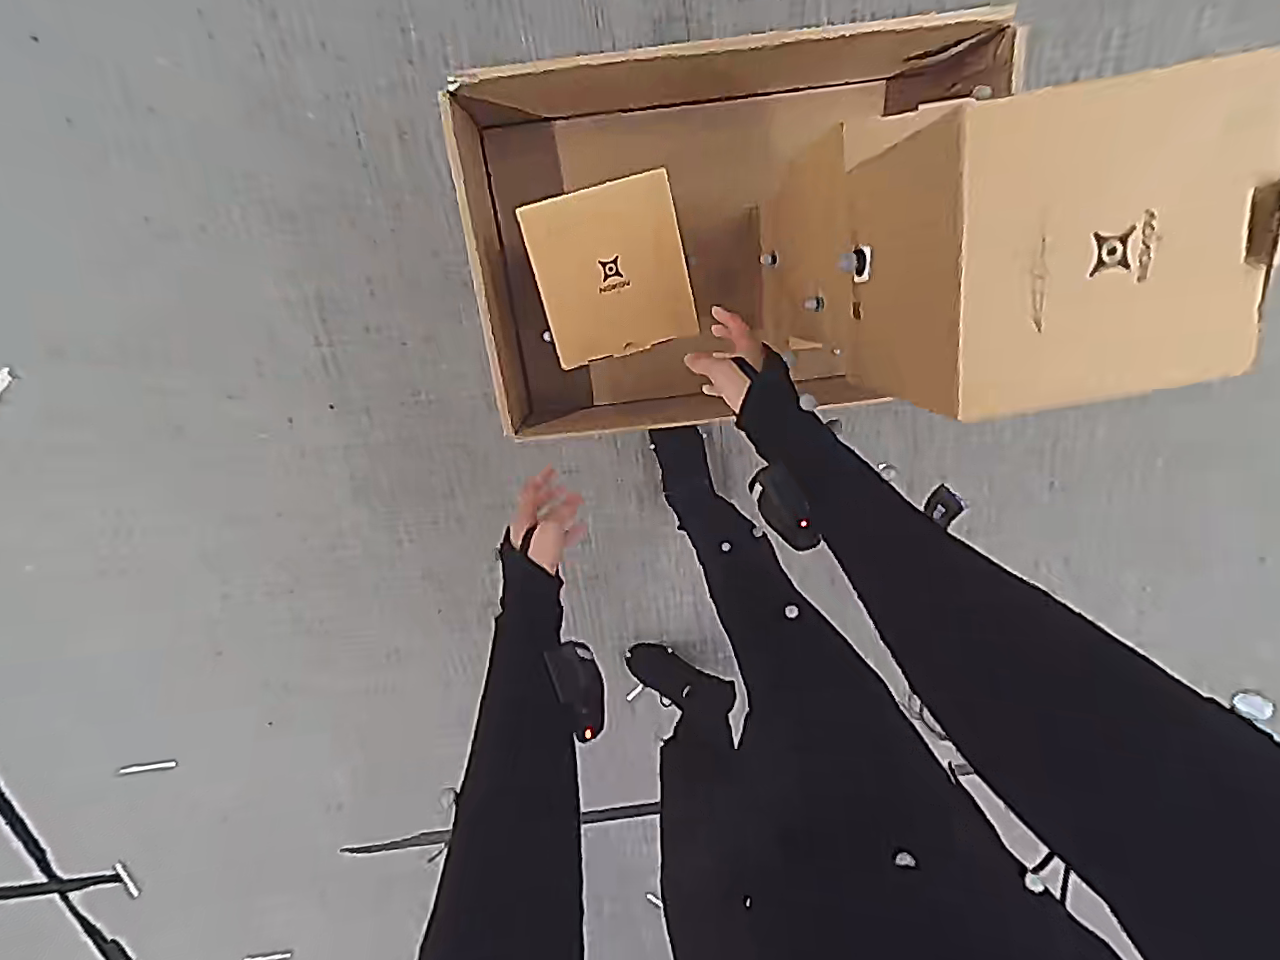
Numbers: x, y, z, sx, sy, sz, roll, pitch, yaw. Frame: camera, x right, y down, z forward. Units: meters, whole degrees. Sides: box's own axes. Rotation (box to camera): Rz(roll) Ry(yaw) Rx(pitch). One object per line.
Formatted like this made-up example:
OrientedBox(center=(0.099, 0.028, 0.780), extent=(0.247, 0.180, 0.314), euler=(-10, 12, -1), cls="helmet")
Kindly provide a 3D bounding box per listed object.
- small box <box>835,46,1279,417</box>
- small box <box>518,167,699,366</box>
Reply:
OrientedBox(center=(0.252, -0.151, 0.365), extent=(0.179, 0.176, 0.168), euler=(-10, 108, 0), cls="small box")
OrientedBox(center=(-0.035, -0.252, 0.665), extent=(0.168, 0.176, 0.179), euler=(-15, 109, 3), cls="small box")
